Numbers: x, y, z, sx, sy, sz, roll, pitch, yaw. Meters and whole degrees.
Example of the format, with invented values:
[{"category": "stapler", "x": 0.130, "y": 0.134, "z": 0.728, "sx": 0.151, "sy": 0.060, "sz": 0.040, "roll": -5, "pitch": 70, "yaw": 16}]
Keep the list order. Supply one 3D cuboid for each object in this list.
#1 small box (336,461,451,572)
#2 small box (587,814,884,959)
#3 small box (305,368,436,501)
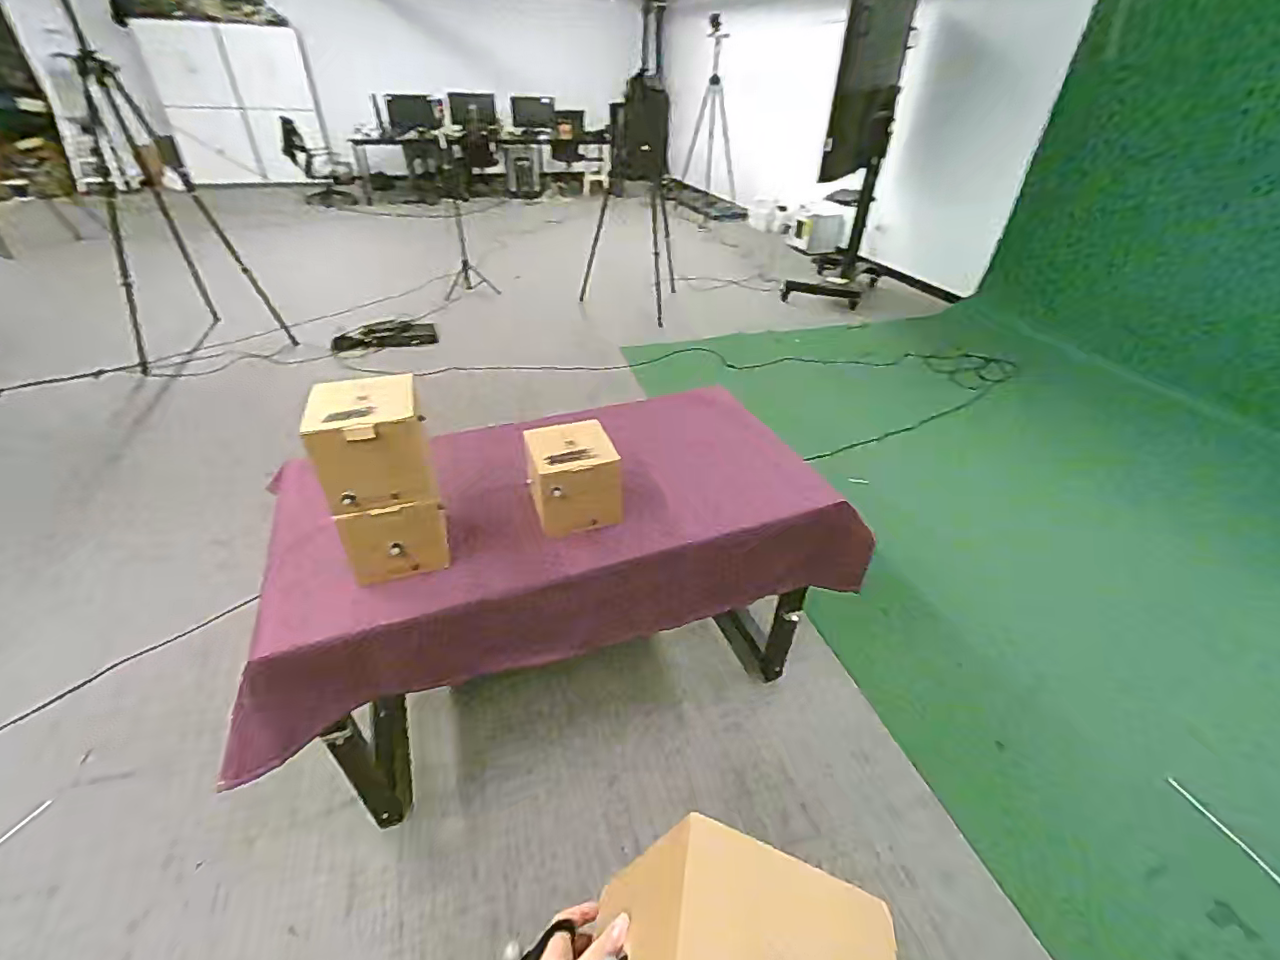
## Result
[{"category": "small box", "x": -0.467, "y": 0.059, "z": 1.046, "sx": 0.168, "sy": 0.176, "sz": 0.179, "roll": -10, "pitch": 40, "yaw": -17}, {"category": "small box", "x": 0.055, "y": 0.386, "z": 0.384, "sx": 0.179, "sy": 0.176, "sz": 0.168, "roll": 28, "pitch": 33, "yaw": -5}, {"category": "small box", "x": -0.462, "y": -0.077, "z": 0.953, "sx": 0.168, "sy": 0.176, "sz": 0.179, "roll": -10, "pitch": 38, "yaw": -16}]
